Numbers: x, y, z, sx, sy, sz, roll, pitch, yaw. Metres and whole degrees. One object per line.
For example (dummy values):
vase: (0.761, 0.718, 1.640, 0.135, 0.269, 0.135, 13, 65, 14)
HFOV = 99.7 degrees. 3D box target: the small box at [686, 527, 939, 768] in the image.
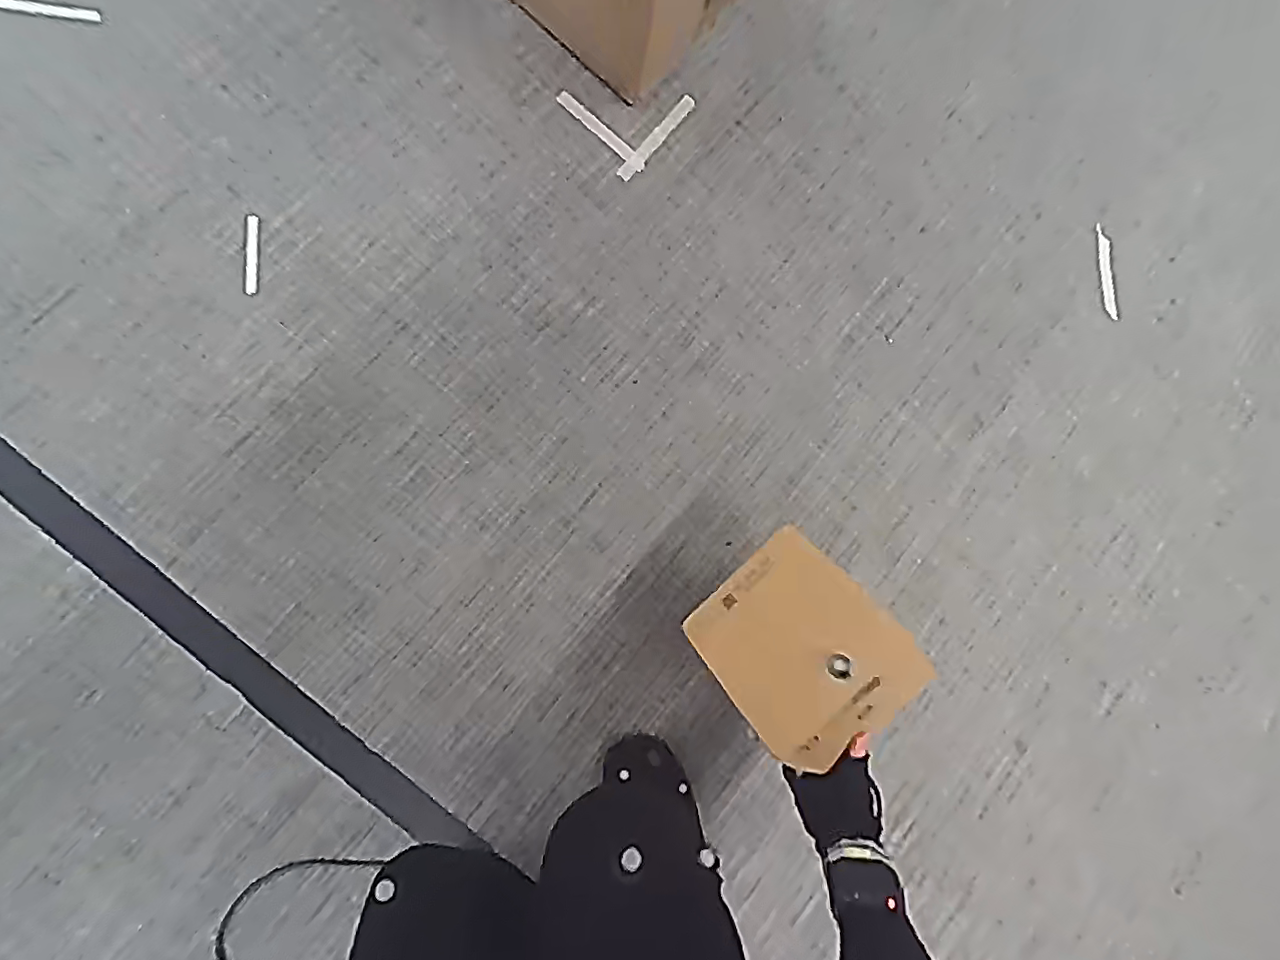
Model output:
small box: (0.183, 0.178, 0.580, 0.168, 0.179, 0.176, -45, 48, 4)
